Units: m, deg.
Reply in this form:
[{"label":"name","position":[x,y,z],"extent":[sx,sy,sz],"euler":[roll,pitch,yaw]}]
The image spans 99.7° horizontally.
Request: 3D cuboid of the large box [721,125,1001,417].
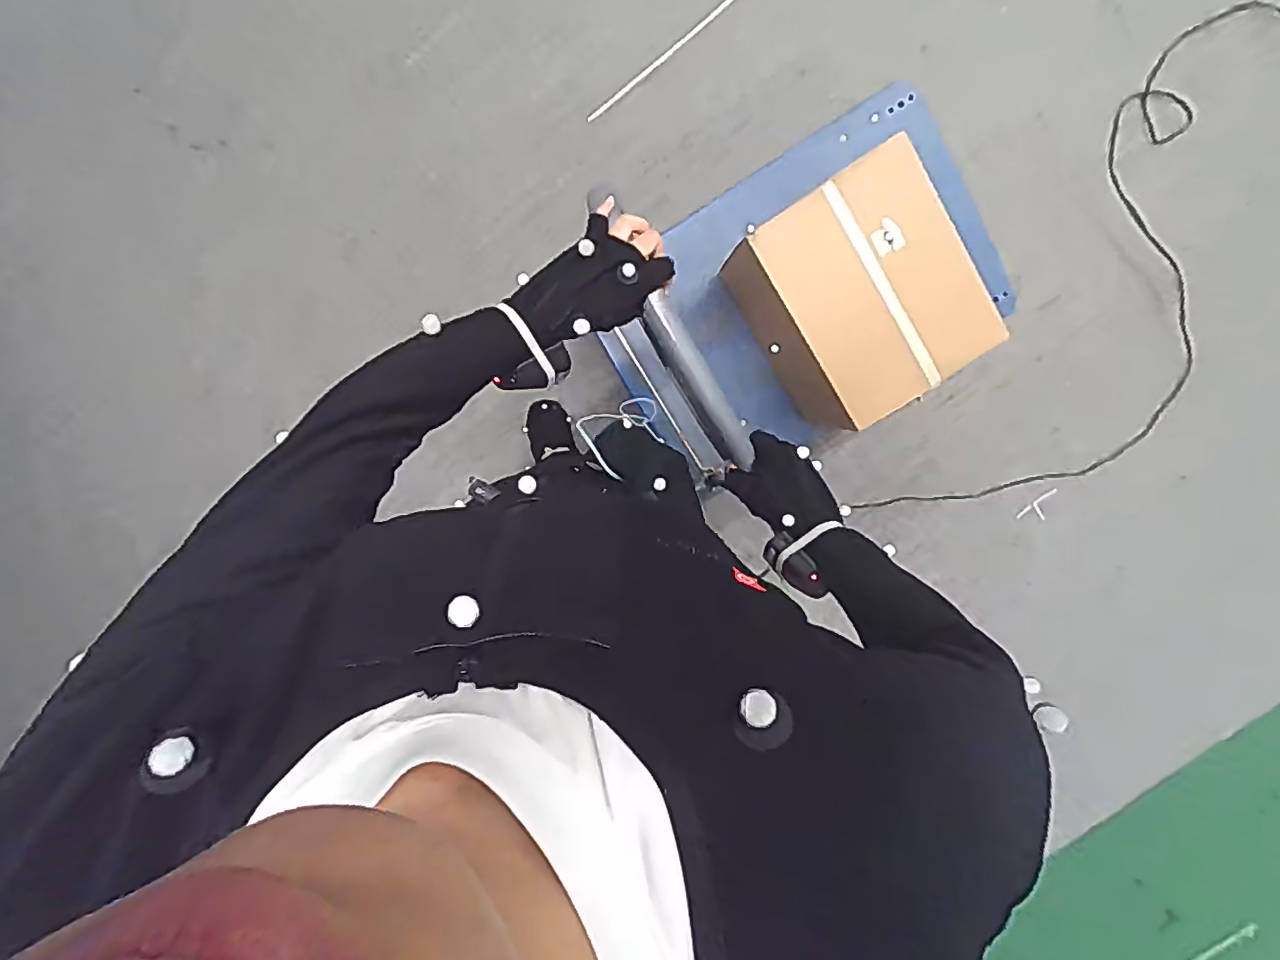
[{"label":"large box","position":[0.411,-0.380,1.093],"extent":[0.320,0.320,0.408],"euler":[-32,98,5]}]
